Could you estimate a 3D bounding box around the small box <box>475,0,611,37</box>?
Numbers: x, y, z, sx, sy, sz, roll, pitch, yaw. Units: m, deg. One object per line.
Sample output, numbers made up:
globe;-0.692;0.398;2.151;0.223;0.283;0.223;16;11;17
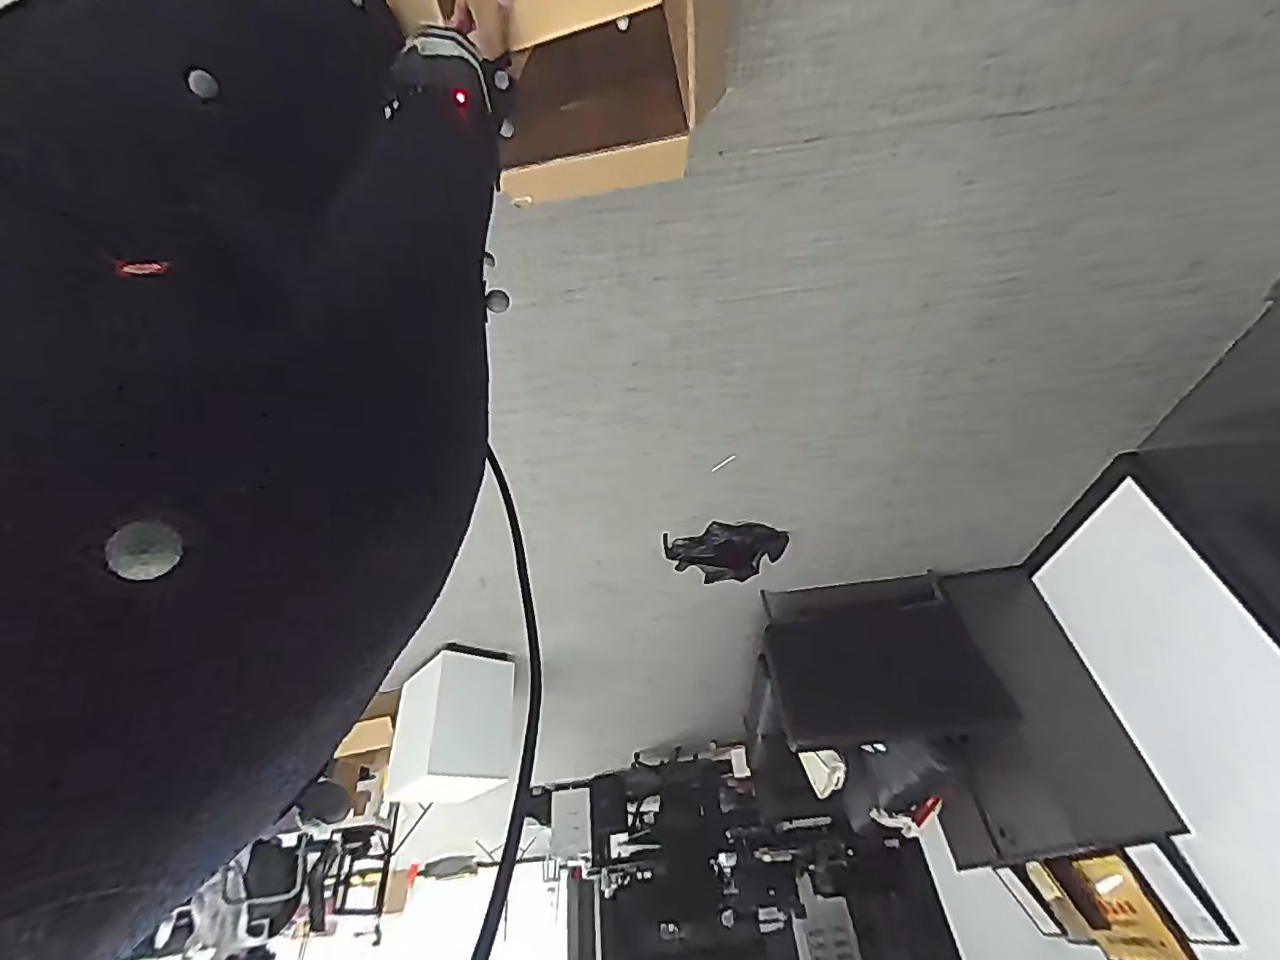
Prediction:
small box;-0.083;-0.539;0.488;0.179;0.176;0.168;-14;138;5
